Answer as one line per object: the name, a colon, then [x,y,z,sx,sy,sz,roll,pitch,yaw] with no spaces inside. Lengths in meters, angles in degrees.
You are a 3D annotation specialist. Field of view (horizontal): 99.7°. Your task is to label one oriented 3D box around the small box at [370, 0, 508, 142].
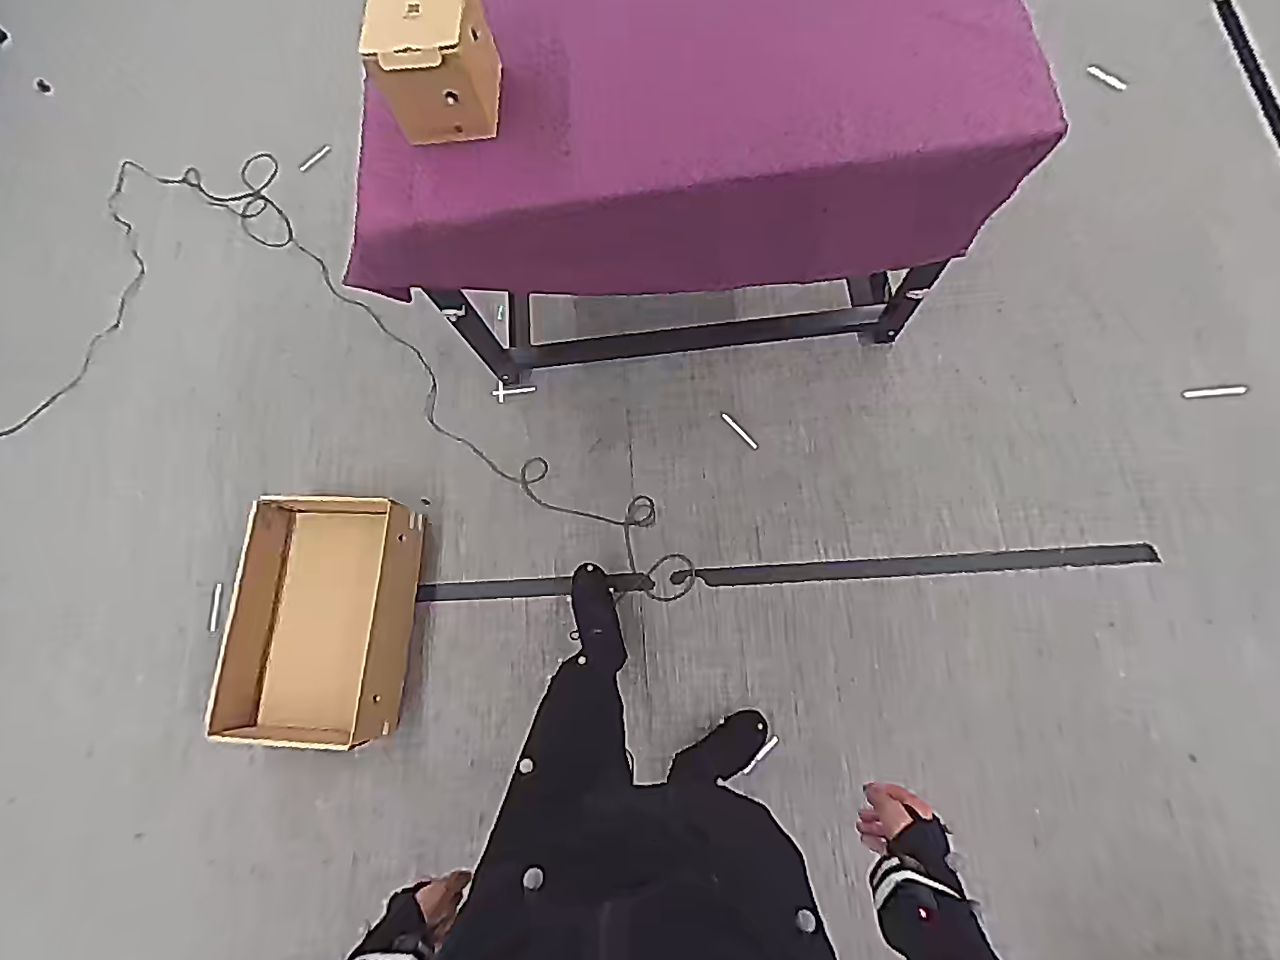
small box: [-0.340,-0.727,0.950,0.168,0.176,0.179,0,75,5]
